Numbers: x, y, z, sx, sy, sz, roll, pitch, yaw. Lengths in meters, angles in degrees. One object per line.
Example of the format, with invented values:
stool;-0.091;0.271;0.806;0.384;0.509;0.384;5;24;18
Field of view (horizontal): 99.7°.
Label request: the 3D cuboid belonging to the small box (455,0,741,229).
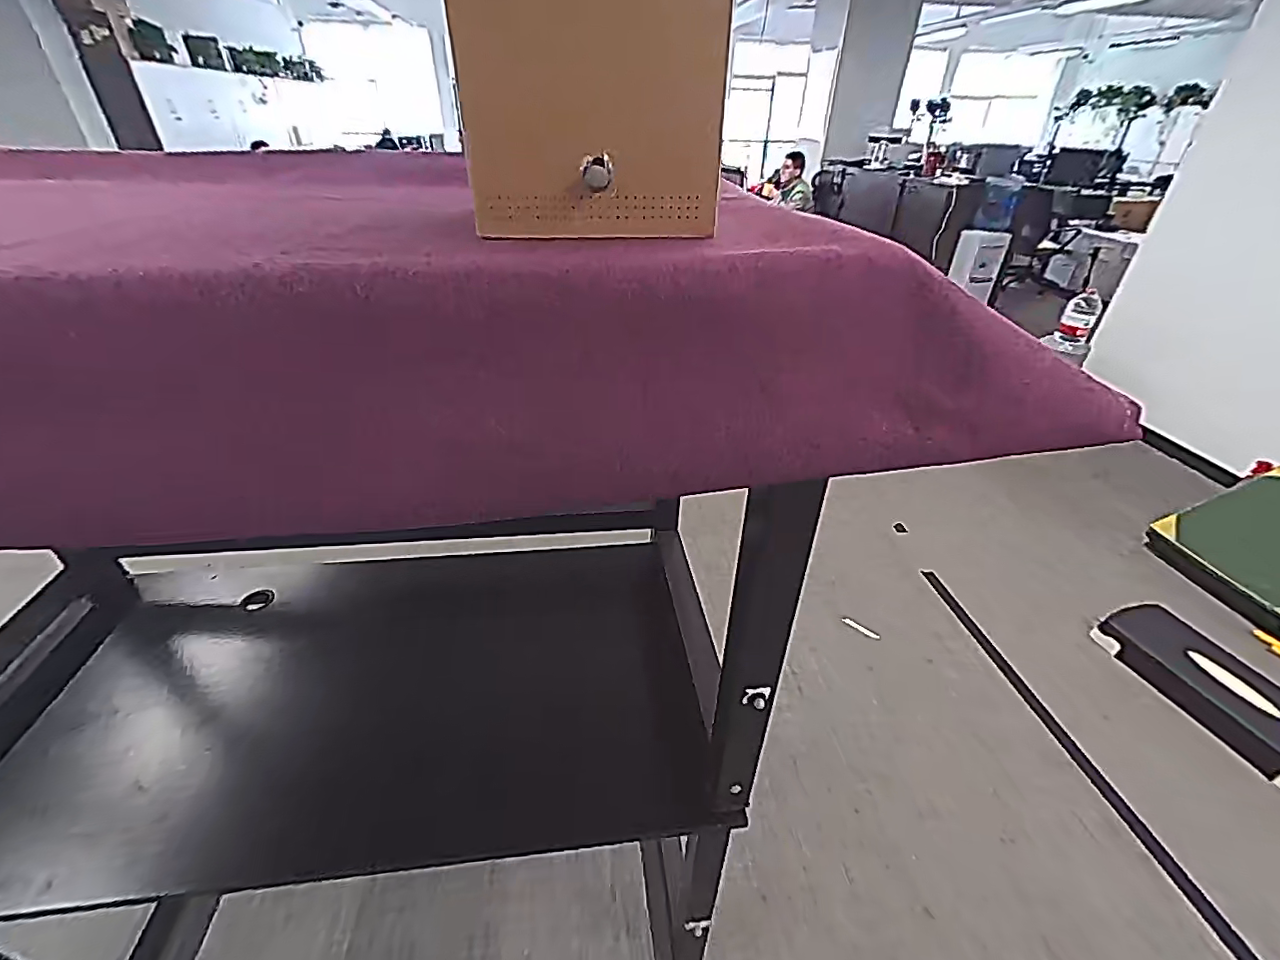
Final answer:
small box;-0.030;-0.295;0.413;0.179;0.176;0.168;-2;33;-4
